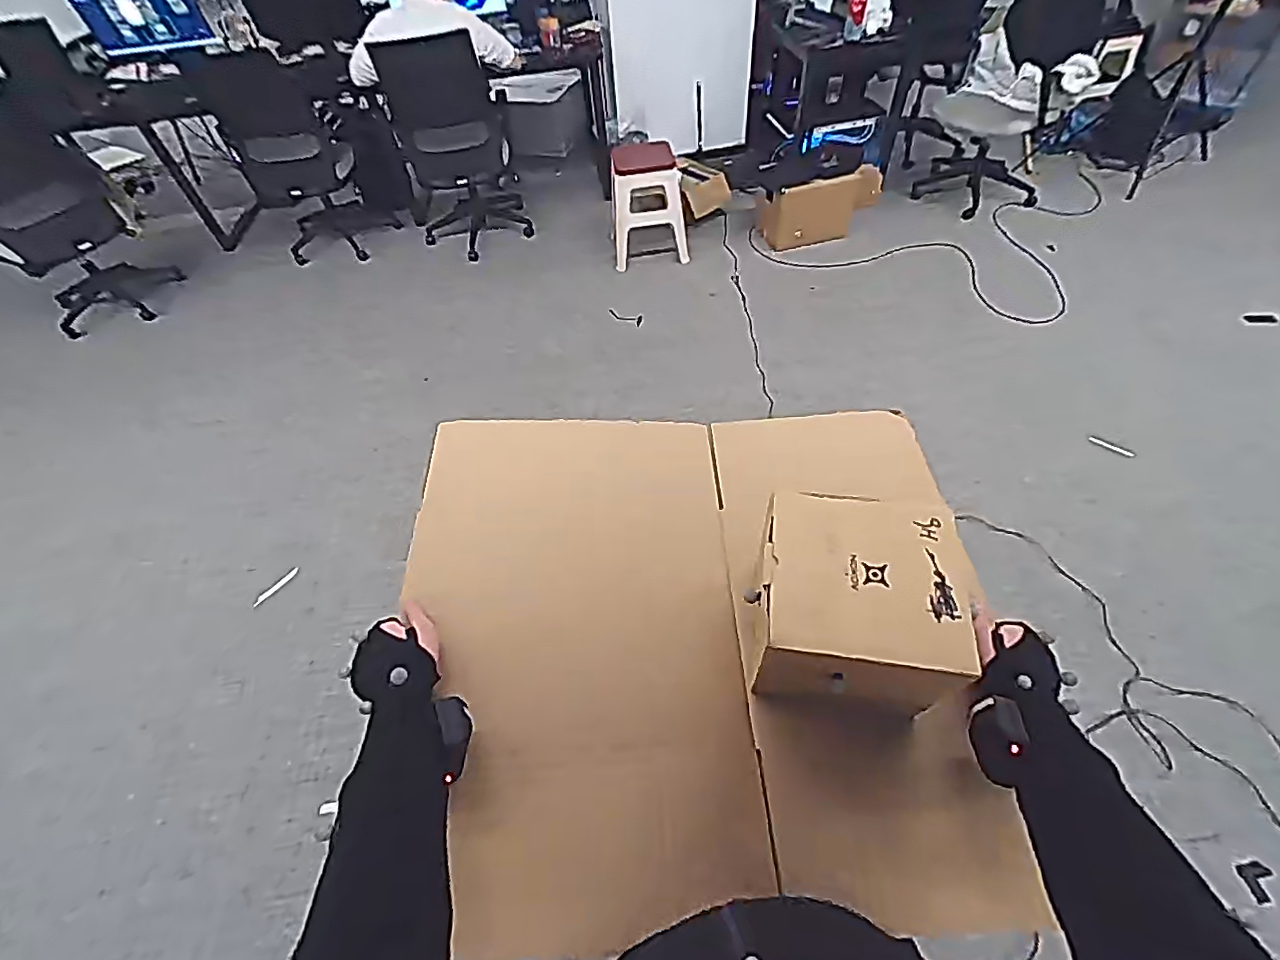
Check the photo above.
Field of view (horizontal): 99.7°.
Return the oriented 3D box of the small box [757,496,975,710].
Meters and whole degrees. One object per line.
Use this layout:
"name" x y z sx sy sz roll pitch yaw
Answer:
"small box" 0.220 0.134 0.577 0.179 0.176 0.168 4 57 11
